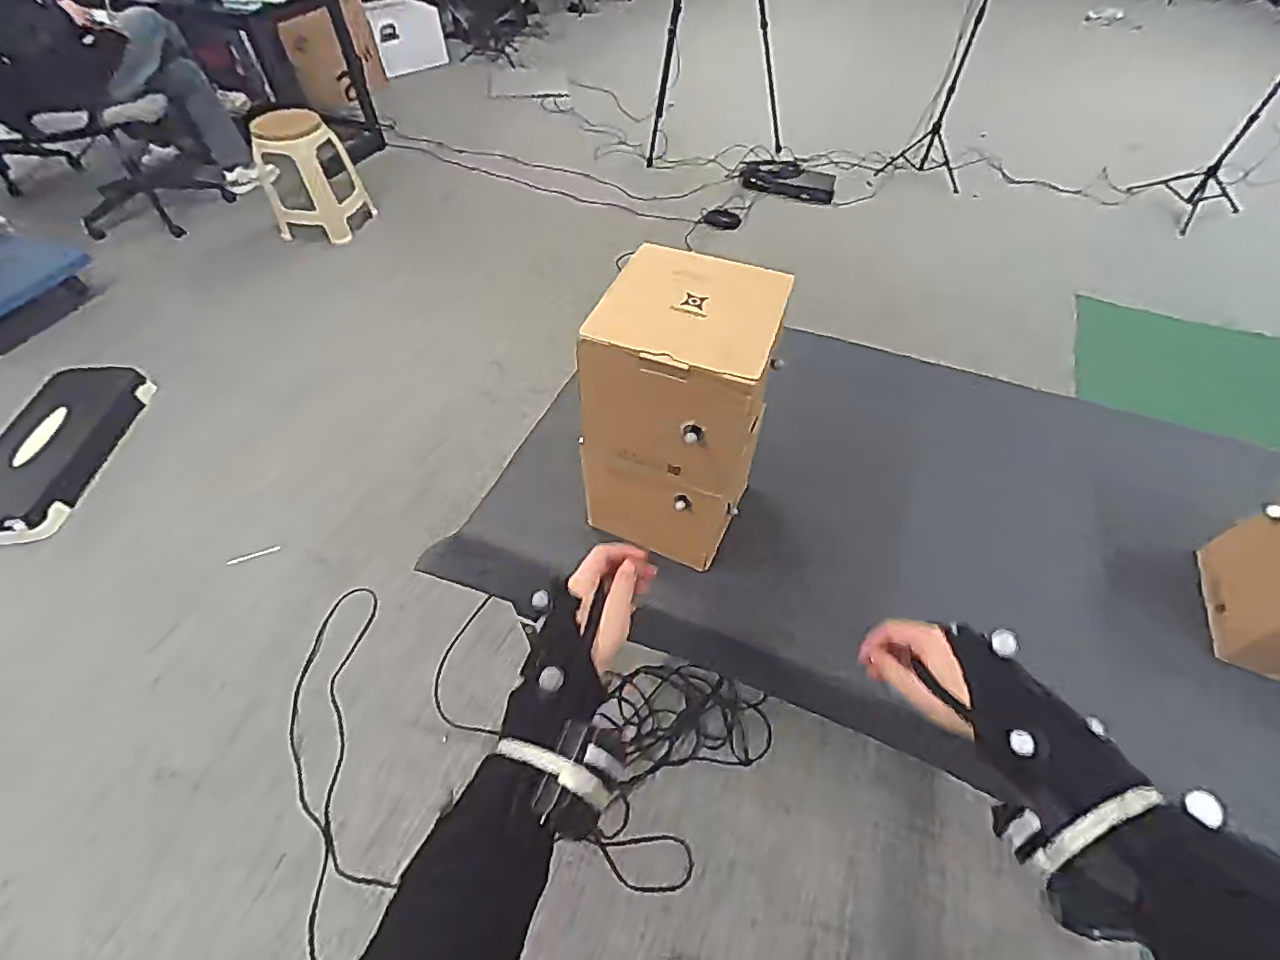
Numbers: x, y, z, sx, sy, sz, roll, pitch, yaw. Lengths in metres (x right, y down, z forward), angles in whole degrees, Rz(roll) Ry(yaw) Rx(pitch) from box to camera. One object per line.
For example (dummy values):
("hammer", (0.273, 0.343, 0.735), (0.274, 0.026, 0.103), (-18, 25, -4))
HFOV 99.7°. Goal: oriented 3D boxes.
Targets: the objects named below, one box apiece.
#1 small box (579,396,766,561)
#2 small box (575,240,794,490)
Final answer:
("small box", (0.041, -0.022, 0.698), (0.179, 0.176, 0.168), (22, 54, 15))
("small box", (0.046, -0.117, 0.566), (0.168, 0.176, 0.179), (18, 52, 10))
